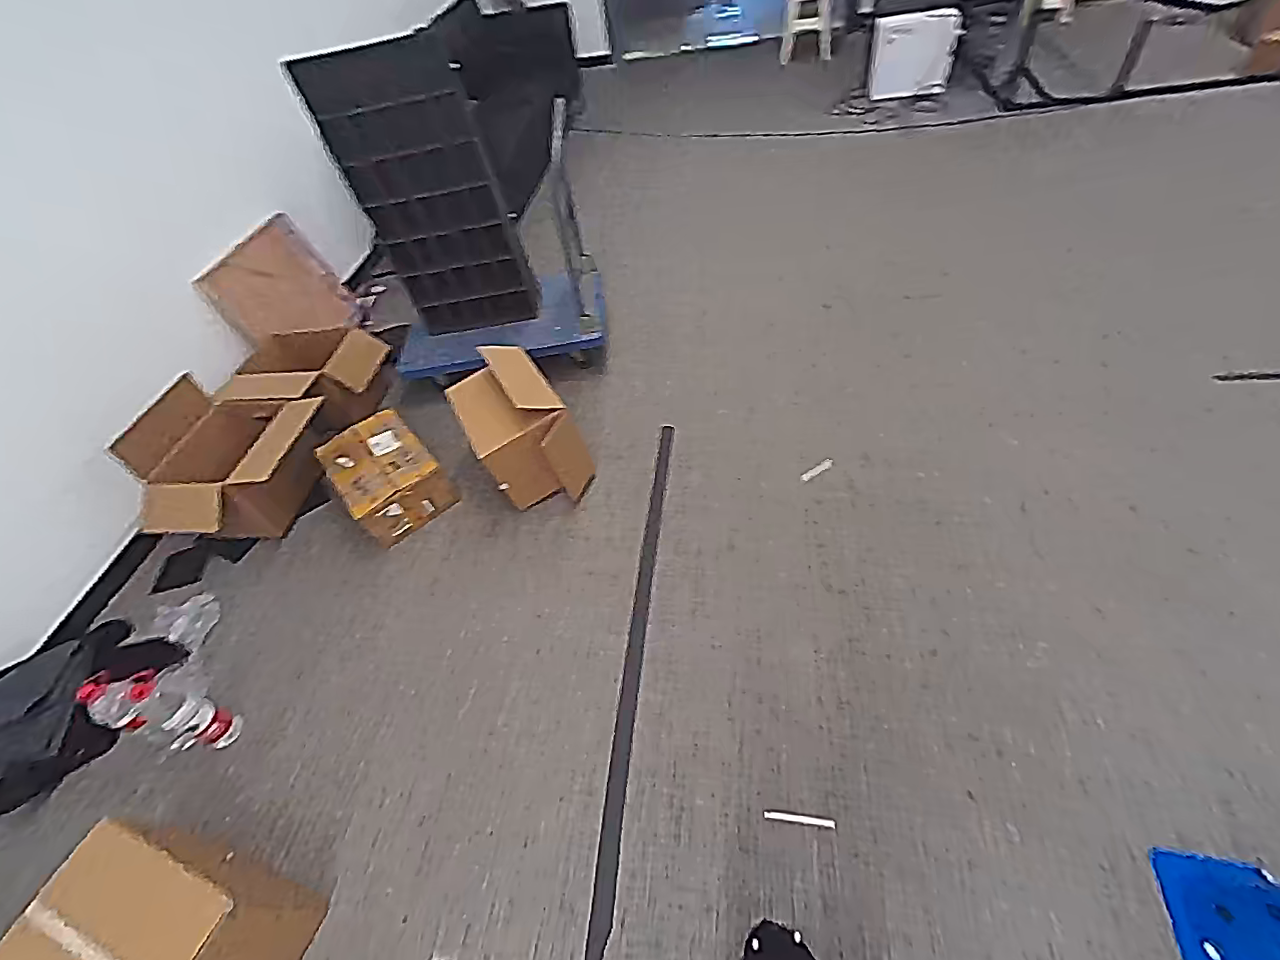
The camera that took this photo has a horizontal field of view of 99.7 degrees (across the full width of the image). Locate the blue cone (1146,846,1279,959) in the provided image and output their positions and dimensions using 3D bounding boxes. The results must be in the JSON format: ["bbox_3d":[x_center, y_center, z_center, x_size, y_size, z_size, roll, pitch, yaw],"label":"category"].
[{"bbox_3d":[1.052,0.696,0.876,0.193,0.380,0.192,4,51,14],"label":"blue cone"}]
